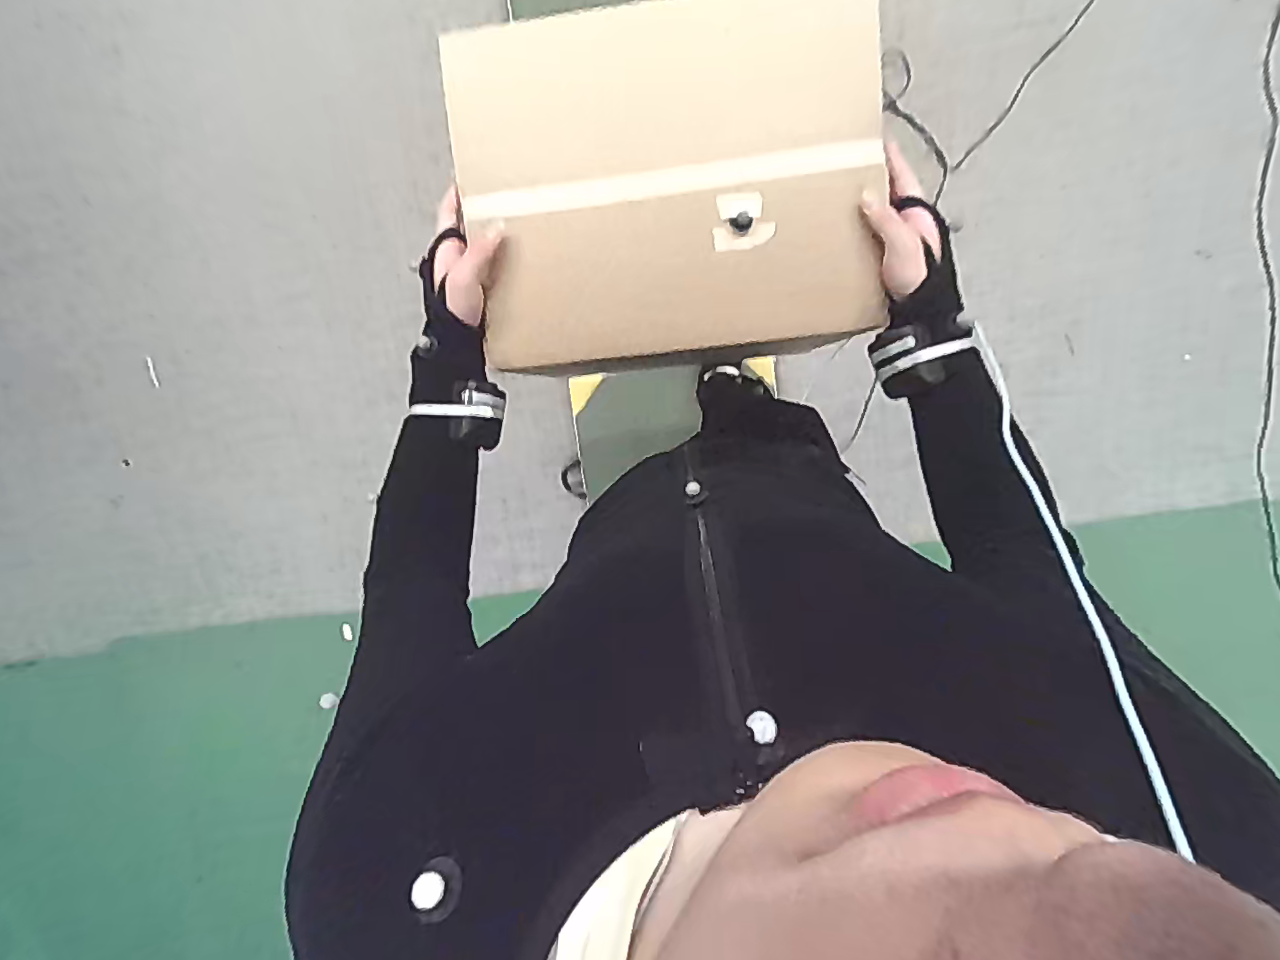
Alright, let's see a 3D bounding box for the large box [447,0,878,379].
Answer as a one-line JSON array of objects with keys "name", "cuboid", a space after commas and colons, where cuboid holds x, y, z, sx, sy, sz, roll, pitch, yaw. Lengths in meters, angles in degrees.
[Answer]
[{"name": "large box", "cuboid": [0.031, -0.310, 0.679, 0.408, 0.320, 0.320, -6, 99, 4]}]
